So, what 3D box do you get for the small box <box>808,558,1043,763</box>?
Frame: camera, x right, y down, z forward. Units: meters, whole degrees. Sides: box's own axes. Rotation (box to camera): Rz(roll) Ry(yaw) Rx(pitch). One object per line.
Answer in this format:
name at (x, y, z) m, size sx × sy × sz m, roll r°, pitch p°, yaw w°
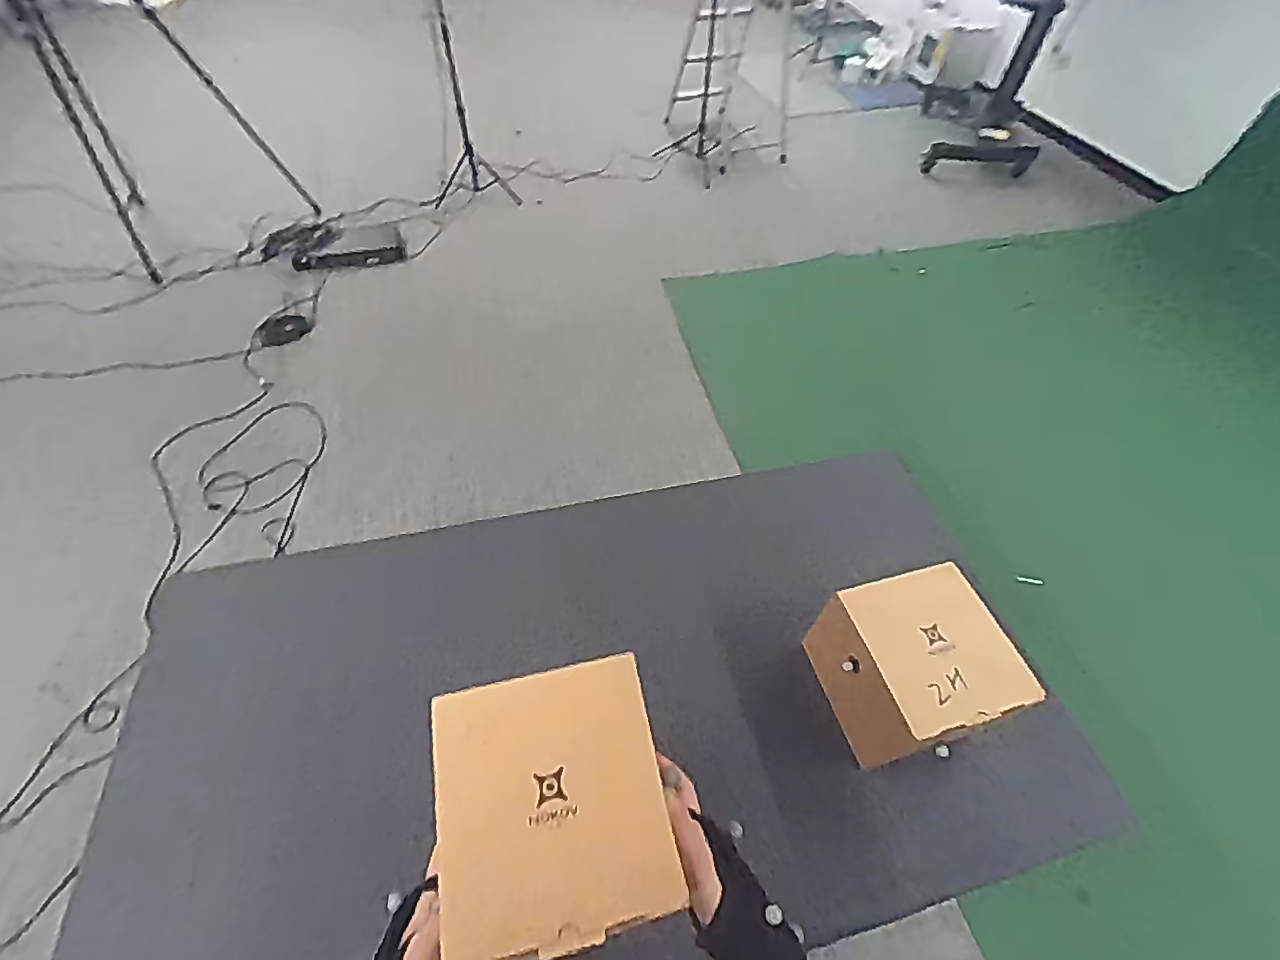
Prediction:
small box at (0.336, 0.229, 0.683) m, size 0.168 × 0.176 × 0.179 m, roll -14°, pitch 54°, yaw -9°
